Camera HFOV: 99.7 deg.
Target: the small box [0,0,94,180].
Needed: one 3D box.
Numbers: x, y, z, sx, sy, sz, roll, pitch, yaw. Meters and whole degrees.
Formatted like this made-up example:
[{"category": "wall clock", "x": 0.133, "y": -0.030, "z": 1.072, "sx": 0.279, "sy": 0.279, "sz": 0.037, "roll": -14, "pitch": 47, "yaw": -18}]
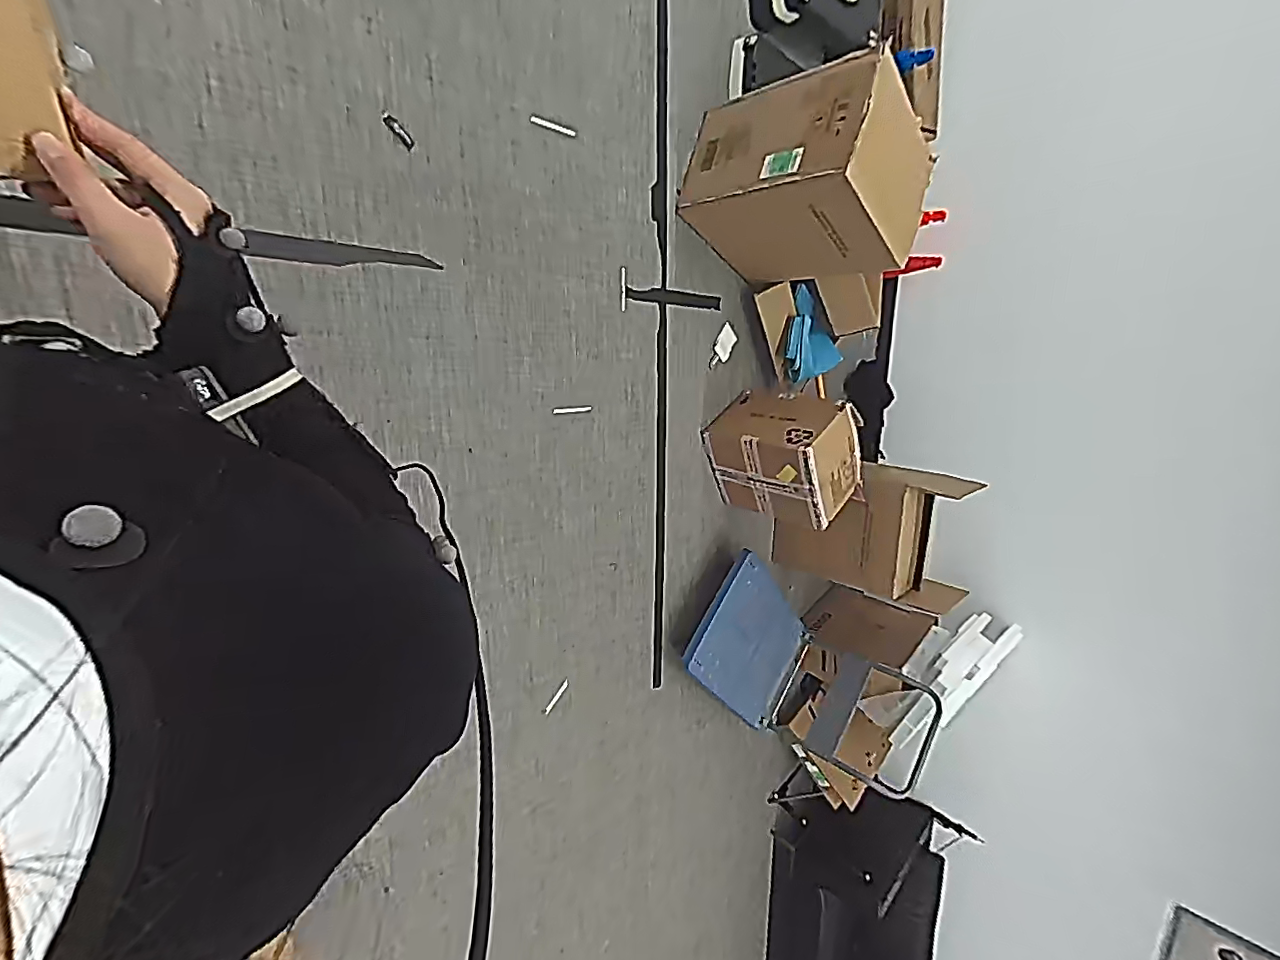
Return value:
[{"category": "small box", "x": -0.428, "y": -0.258, "z": 0.279, "sx": 0.179, "sy": 0.176, "sz": 0.168, "roll": -16, "pitch": 122, "yaw": -38}]
